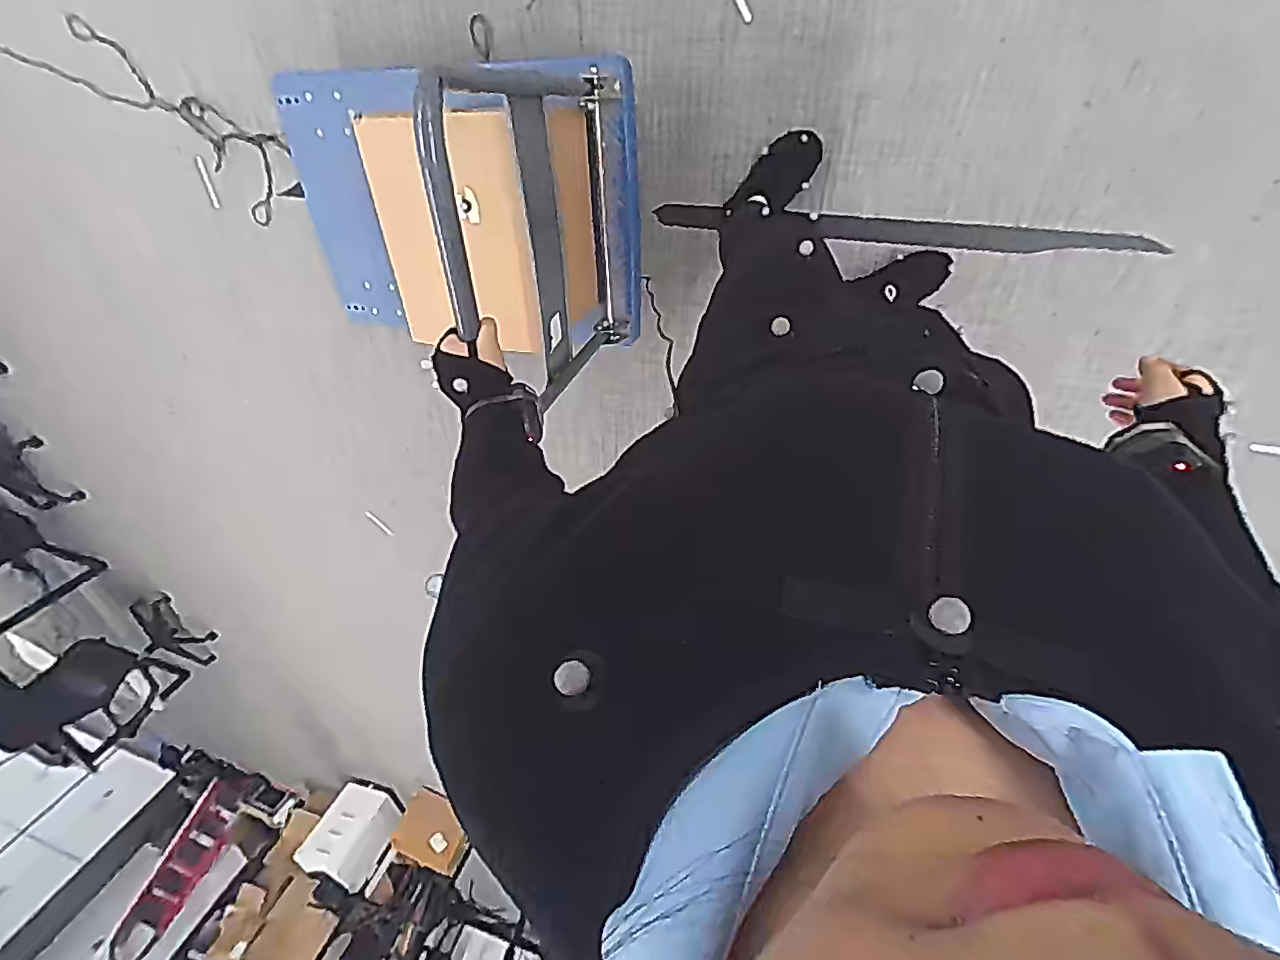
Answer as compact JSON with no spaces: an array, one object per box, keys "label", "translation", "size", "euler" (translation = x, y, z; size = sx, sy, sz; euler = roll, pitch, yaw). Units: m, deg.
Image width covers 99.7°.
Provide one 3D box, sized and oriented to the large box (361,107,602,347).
[{"label":"large box","translation":[-0.289,-0.526,1.127],"size":[0.320,0.320,0.408],"euler":[8,126,15]}]
